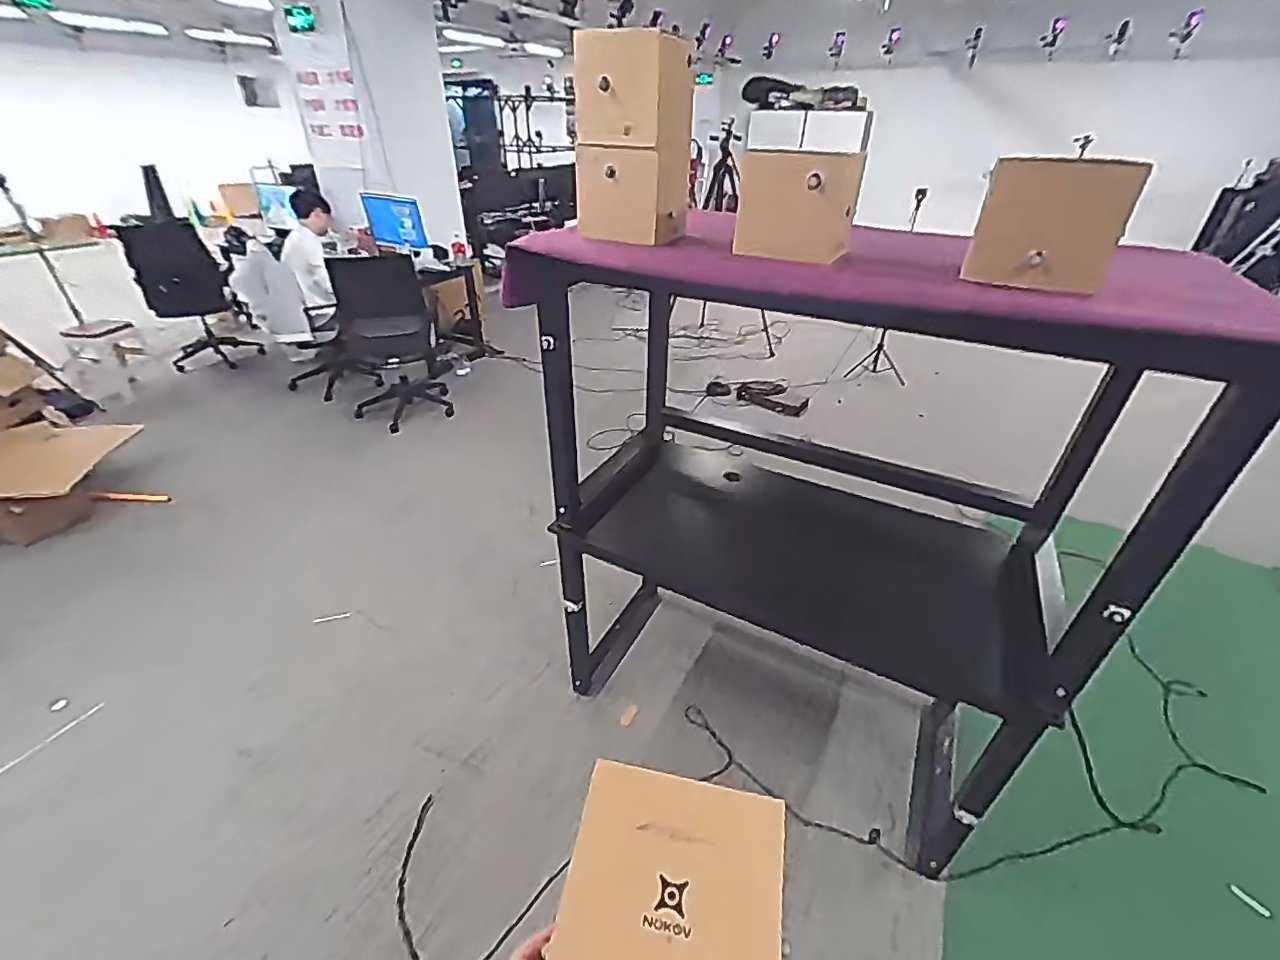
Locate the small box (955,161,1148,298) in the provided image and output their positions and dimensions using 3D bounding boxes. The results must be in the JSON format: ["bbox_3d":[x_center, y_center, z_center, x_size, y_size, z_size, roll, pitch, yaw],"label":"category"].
[{"bbox_3d":[0.609,-0.382,0.823,0.179,0.176,0.168,18,34,24],"label":"small box"}]

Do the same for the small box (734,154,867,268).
[{"bbox_3d":[0.286,-0.486,0.976,0.179,0.176,0.168,18,35,24],"label":"small box"}]

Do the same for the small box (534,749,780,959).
[{"bbox_3d":[0.020,0.366,0.462,0.168,0.176,0.179,9,45,9],"label":"small box"}]

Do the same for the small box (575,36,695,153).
[{"bbox_3d":[-0.005,-0.710,1.016,0.168,0.176,0.179,15,34,20],"label":"small box"}]

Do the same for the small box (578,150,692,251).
[{"bbox_3d":[-0.010,-0.571,1.100,0.179,0.176,0.168,16,36,21],"label":"small box"}]
